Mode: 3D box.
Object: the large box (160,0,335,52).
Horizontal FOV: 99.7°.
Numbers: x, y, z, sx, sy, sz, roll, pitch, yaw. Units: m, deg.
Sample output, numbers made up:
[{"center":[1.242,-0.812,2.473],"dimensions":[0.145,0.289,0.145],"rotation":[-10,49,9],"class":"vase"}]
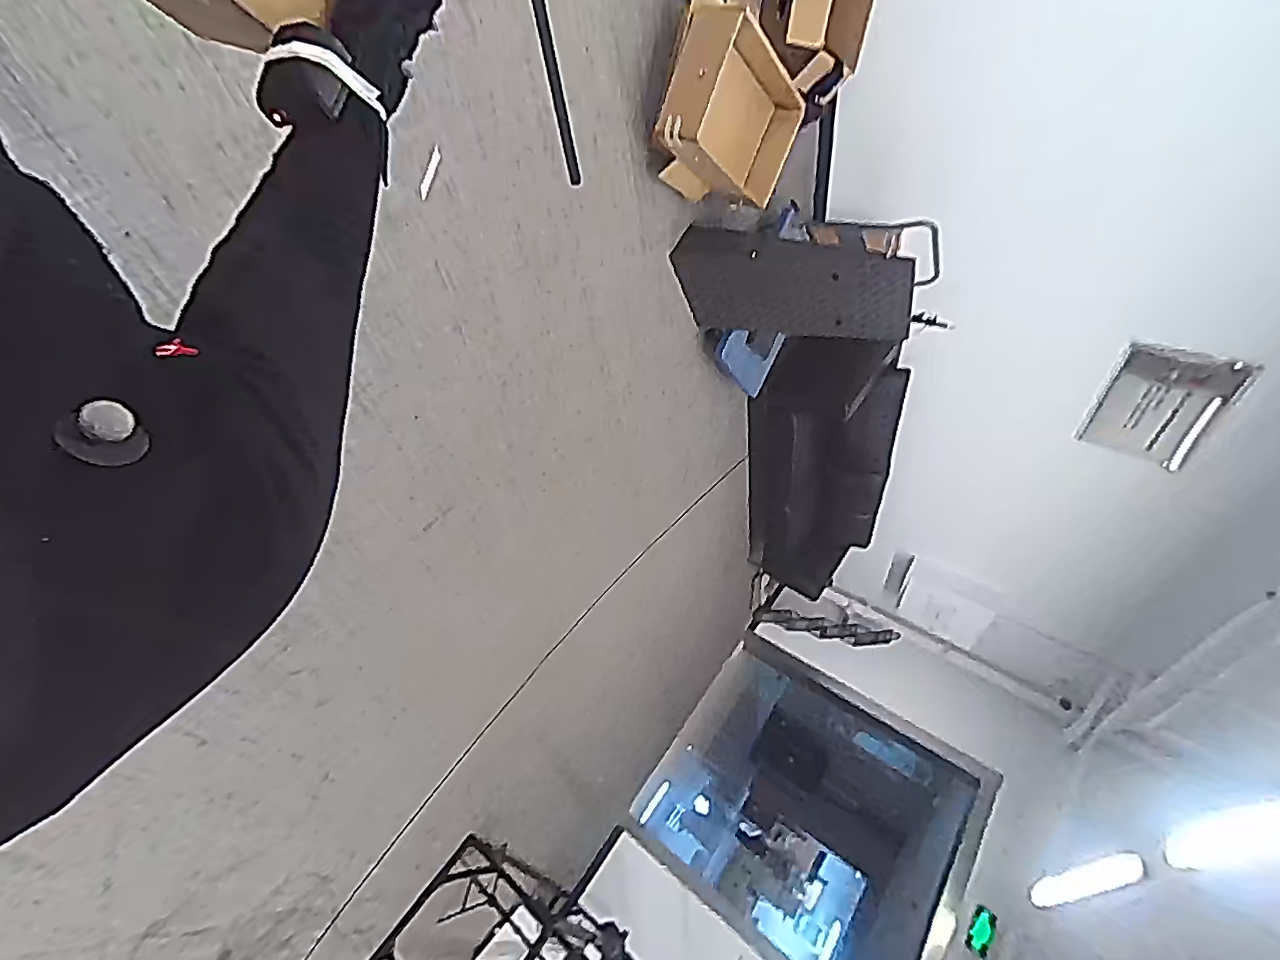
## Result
[{"center":[-0.410,-0.590,0.340],"dimensions":[0.320,0.320,0.408],"rotation":[-59,151,8],"class":"large box"}]
